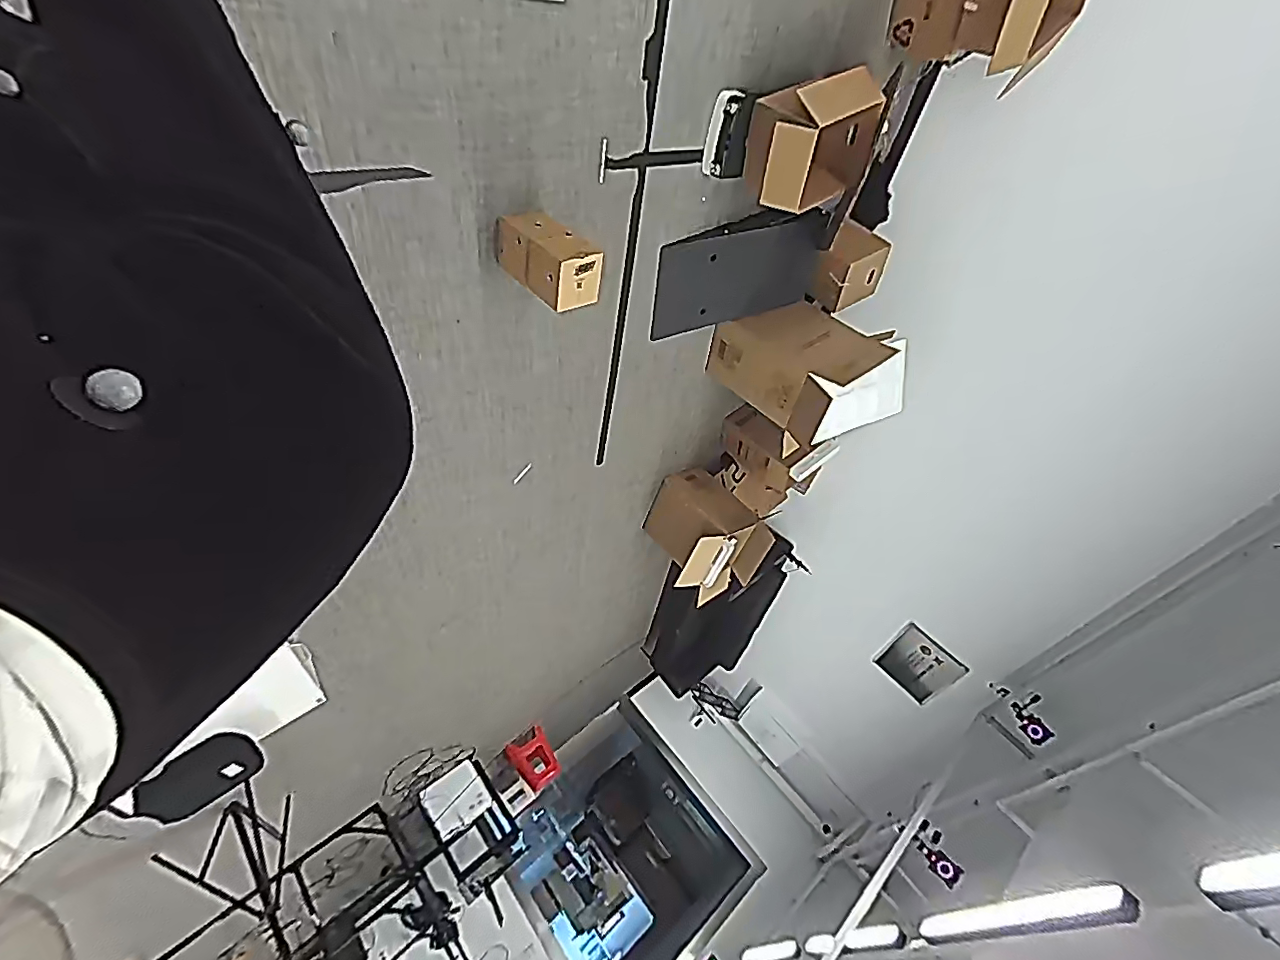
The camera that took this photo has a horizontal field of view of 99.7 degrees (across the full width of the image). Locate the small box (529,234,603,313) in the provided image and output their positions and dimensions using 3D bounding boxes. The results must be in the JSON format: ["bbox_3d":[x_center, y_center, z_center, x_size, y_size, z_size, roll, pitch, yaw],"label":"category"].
[{"bbox_3d":[-0.241,-0.668,1.733,0.168,0.176,0.179,-28,149,-33],"label":"small box"}]
